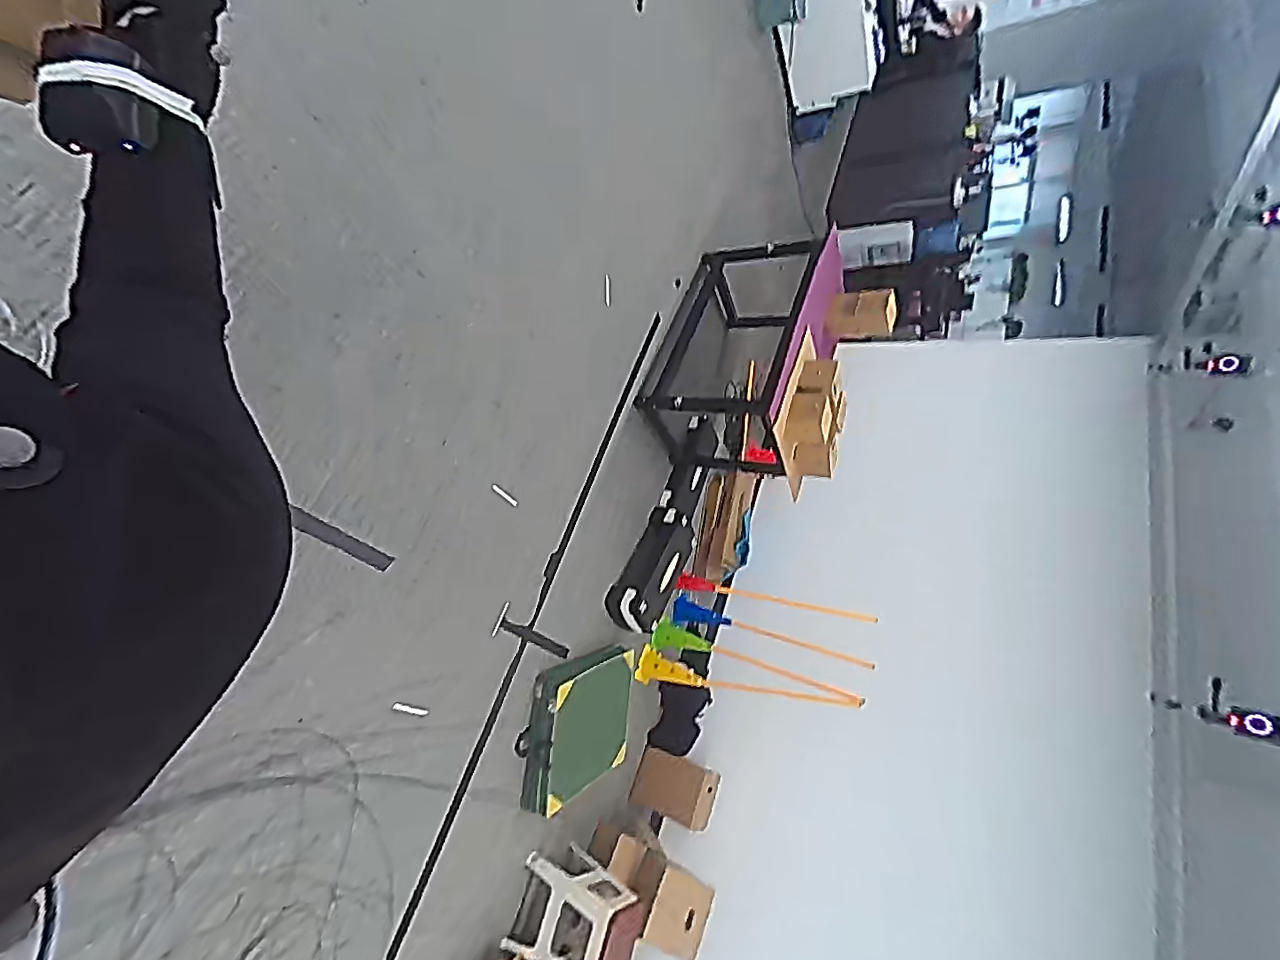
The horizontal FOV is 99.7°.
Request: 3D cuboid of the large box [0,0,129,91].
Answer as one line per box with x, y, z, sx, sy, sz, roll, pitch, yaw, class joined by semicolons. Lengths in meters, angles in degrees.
-0.589;-0.478;0.284;0.408;0.320;0.320;-8;116;-59;large box
